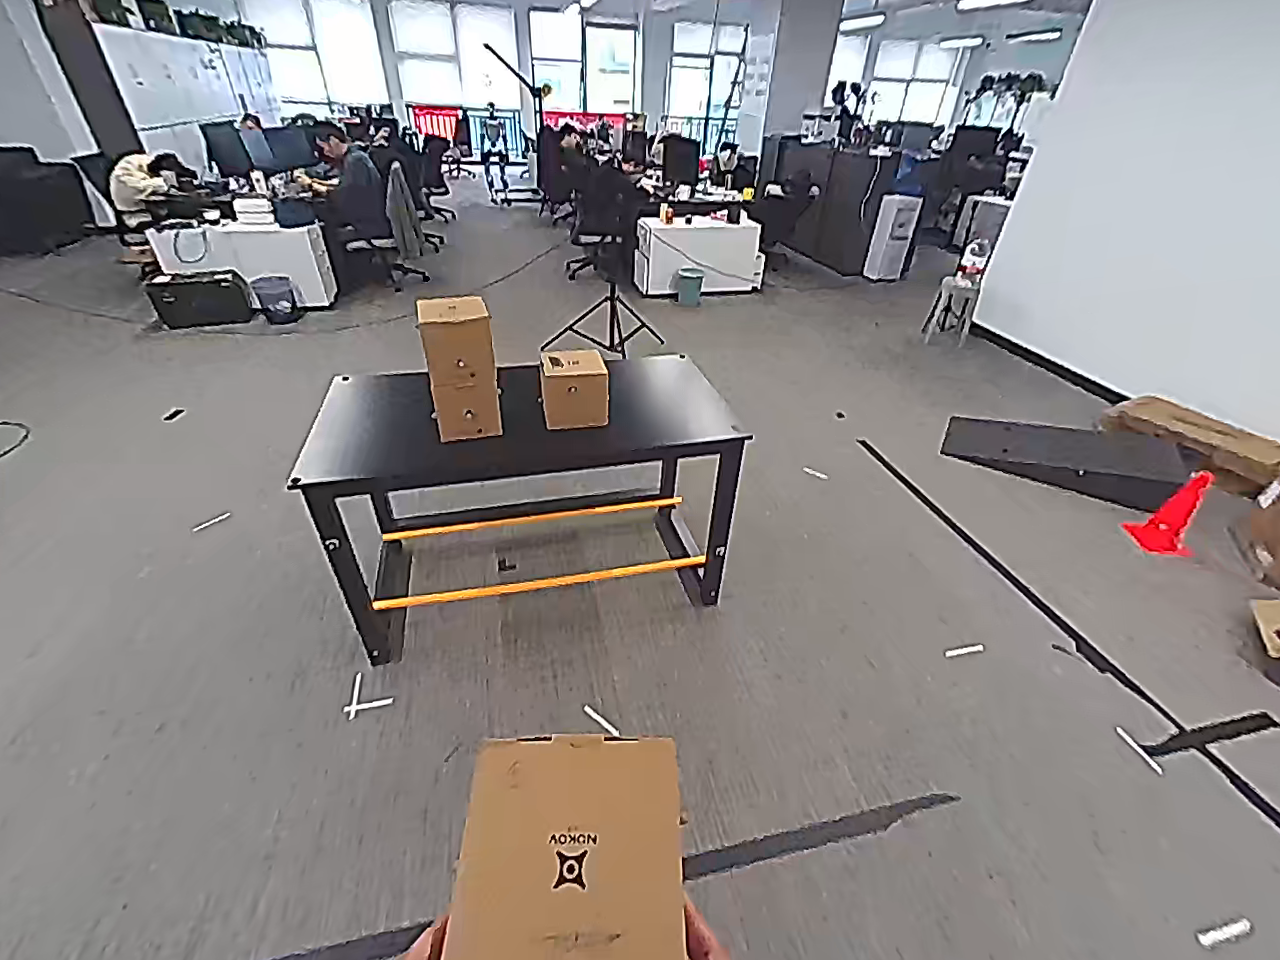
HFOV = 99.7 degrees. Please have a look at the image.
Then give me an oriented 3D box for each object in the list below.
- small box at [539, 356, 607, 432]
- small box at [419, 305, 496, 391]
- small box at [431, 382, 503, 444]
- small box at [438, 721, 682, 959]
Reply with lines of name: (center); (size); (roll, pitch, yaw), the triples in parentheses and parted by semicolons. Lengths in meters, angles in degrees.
small box: (-0.195, -0.249, 1.586); (0.179, 0.176, 0.168); (-6, 36, -13)
small box: (-0.480, -0.350, 1.427); (0.168, 0.176, 0.179); (-11, 37, -17)
small box: (-0.485, -0.212, 1.519); (0.168, 0.176, 0.179); (-10, 37, -16)
small box: (-0.056, 0.326, 0.464); (0.168, 0.176, 0.179); (0, 48, -2)
